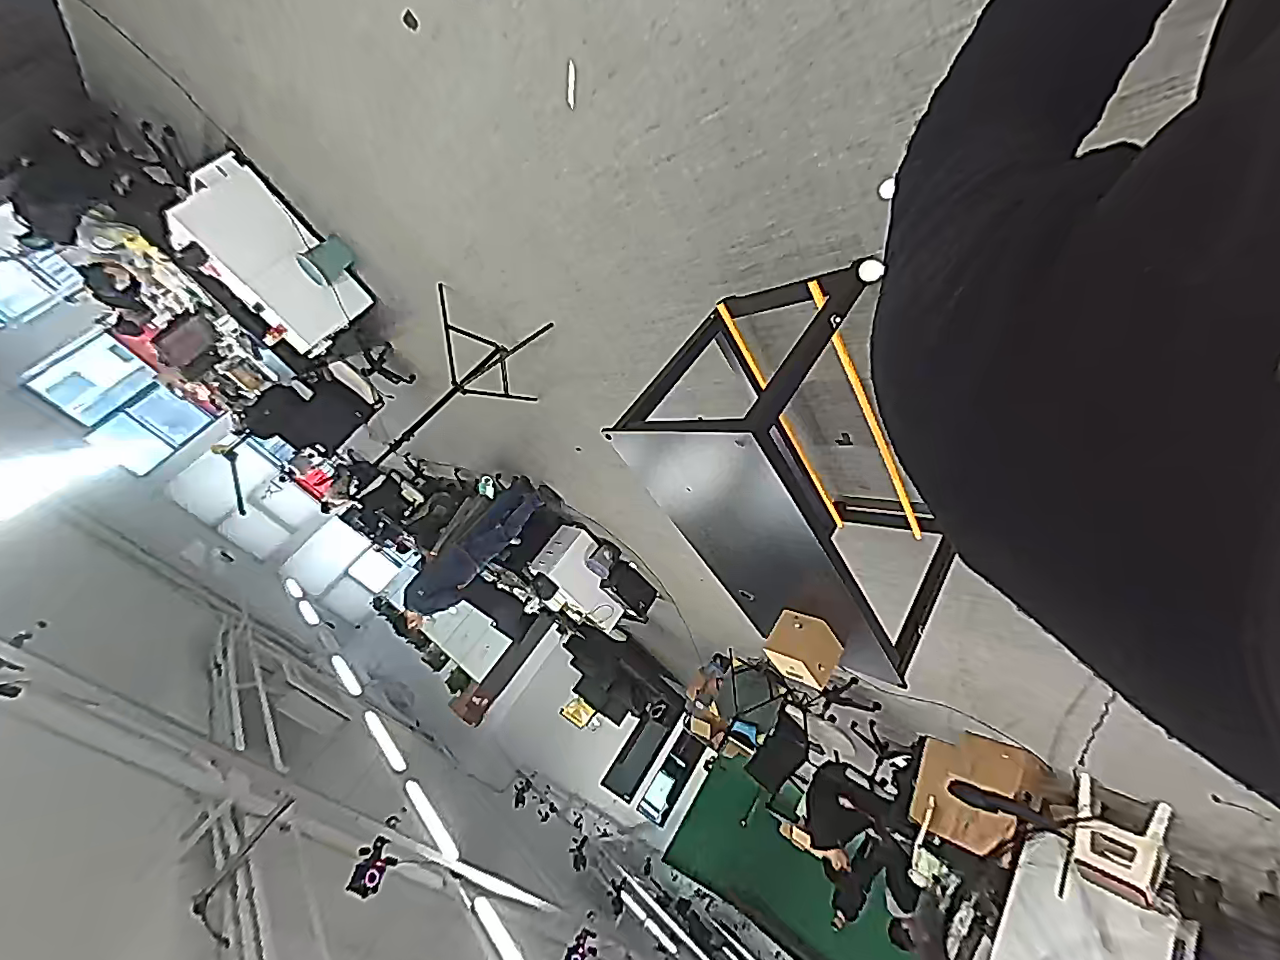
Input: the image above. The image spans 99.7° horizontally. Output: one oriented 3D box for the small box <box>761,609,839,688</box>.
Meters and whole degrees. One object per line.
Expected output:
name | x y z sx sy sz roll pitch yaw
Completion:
small box | 0.556 0.576 1.865 0.168 0.176 0.179 5 139 52
